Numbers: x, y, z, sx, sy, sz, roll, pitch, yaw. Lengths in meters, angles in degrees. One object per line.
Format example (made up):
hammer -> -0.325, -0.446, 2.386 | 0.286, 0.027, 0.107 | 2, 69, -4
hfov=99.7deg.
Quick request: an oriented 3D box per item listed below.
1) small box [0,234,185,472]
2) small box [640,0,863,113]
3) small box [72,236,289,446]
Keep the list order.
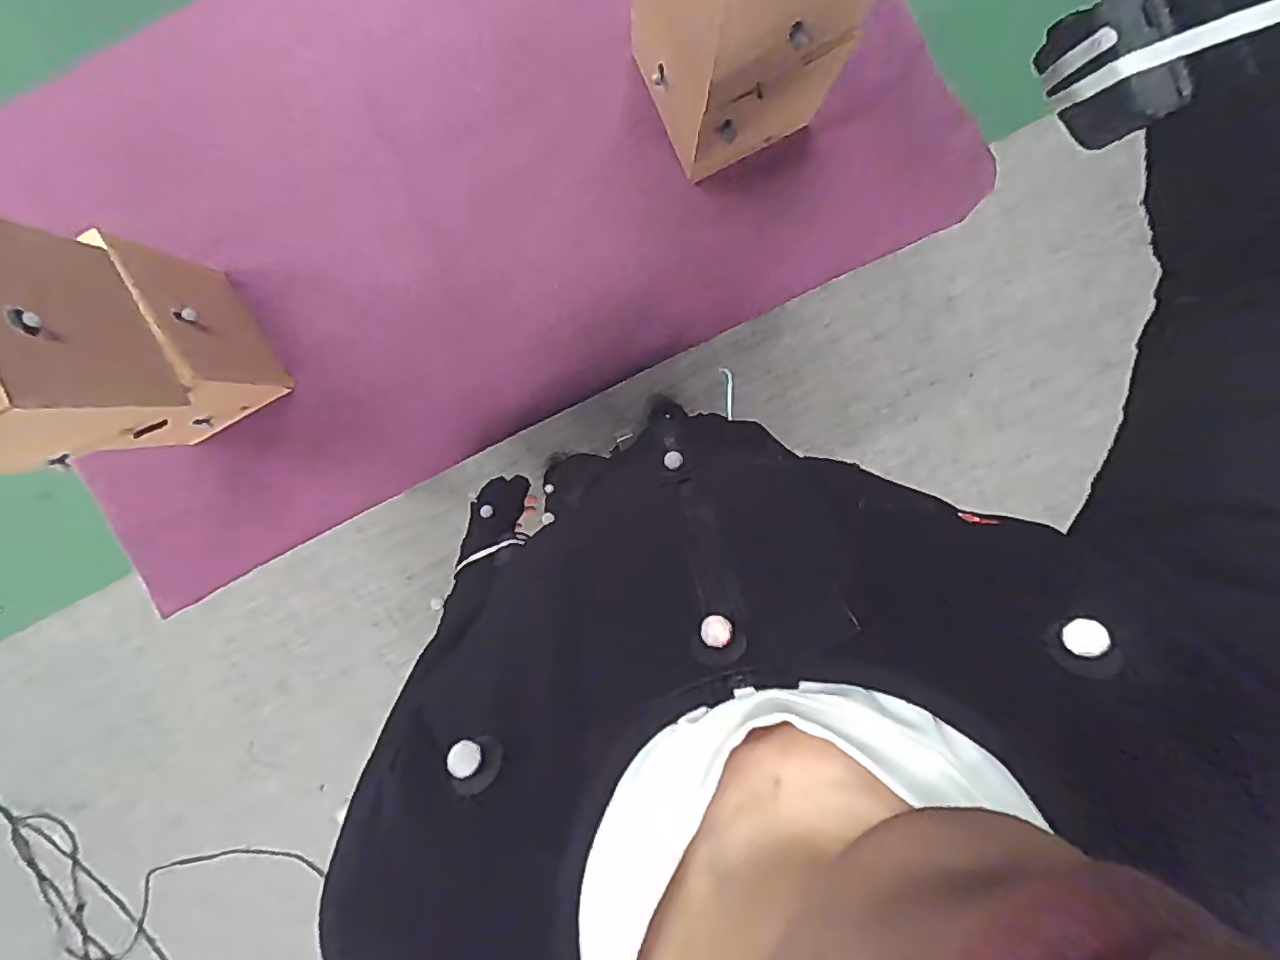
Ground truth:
small box -> -0.577, -0.109, 0.486 | 0.168, 0.176, 0.179 | -23, 98, 2
small box -> 0.087, -0.454, 0.435 | 0.168, 0.176, 0.179 | -29, 97, 4
small box -> -0.579, -0.151, 0.646 | 0.168, 0.176, 0.179 | -28, 98, 3
